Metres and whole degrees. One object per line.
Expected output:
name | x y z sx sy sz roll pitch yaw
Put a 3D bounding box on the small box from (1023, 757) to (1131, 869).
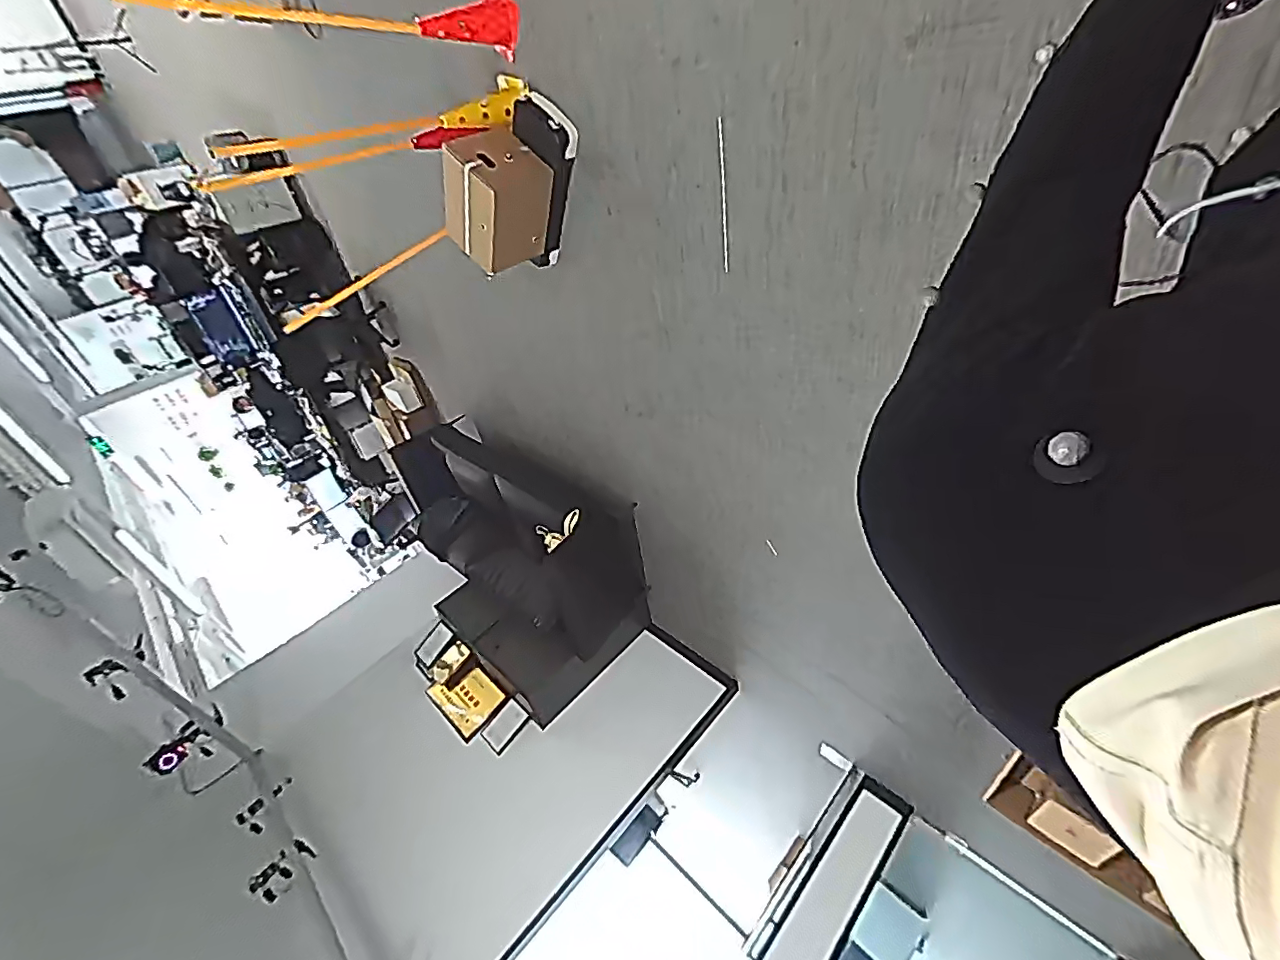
small box | 1.198 0.908 1.482 0.168 0.176 0.179 29 141 35
